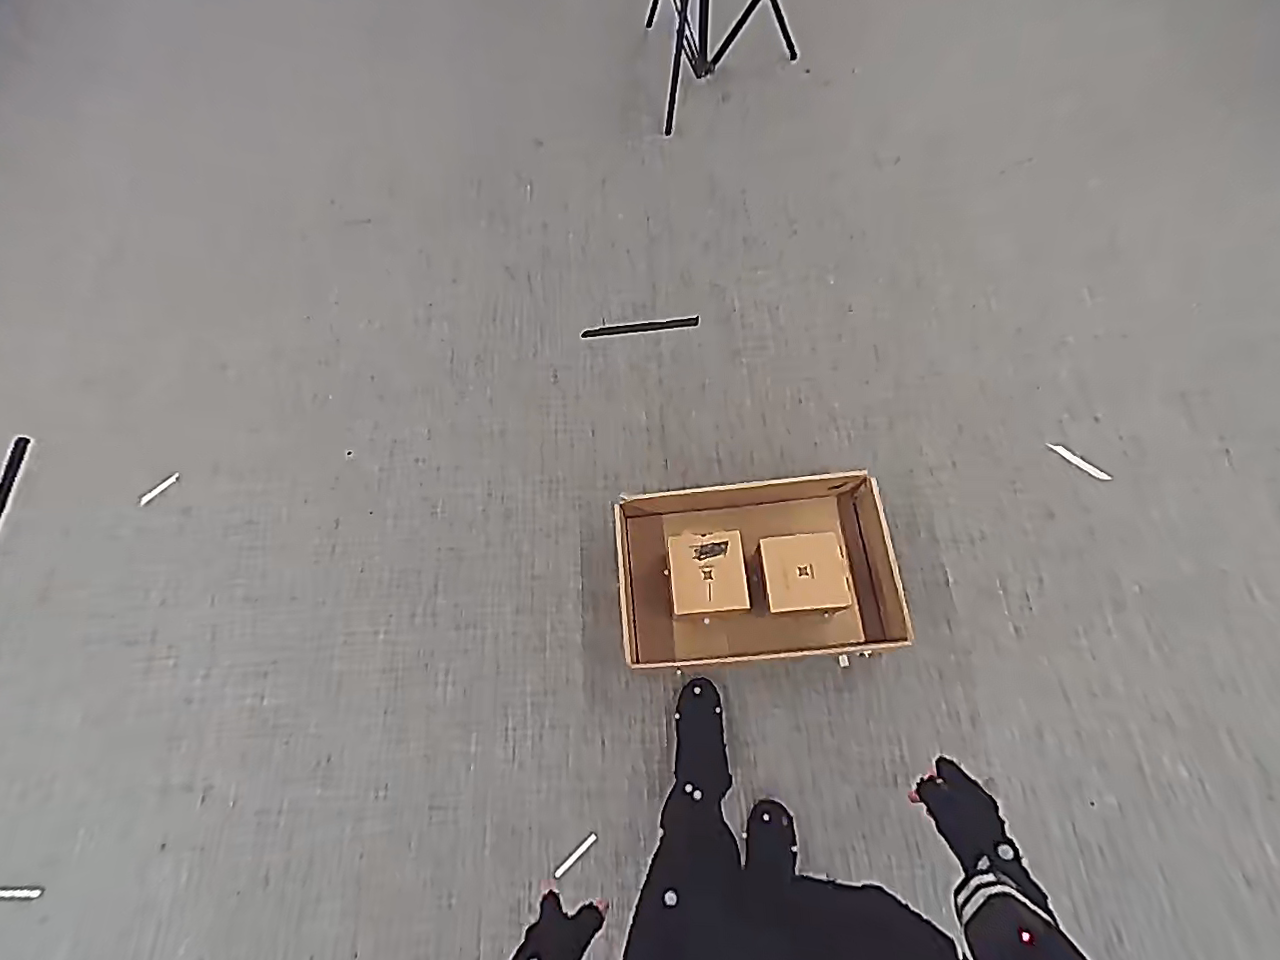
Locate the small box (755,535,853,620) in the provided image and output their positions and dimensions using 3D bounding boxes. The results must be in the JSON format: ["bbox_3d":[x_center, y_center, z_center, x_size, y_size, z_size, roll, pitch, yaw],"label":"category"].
[{"bbox_3d":[0.371,0.231,1.256,0.179,0.176,0.168,-6,69,5],"label":"small box"}]
